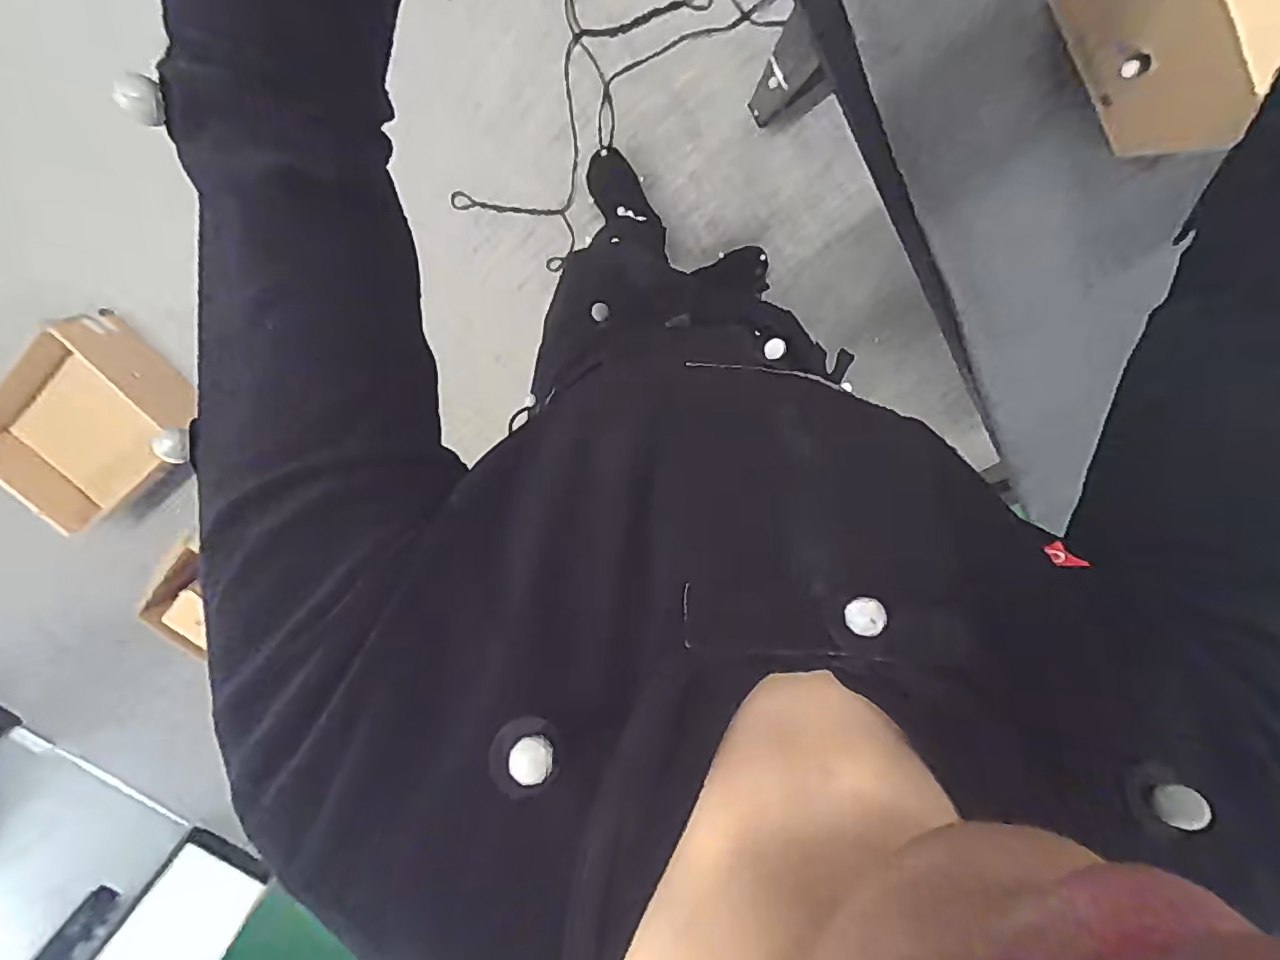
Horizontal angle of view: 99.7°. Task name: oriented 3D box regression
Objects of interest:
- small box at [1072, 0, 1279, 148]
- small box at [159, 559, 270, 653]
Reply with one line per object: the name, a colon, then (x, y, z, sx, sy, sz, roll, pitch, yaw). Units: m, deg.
small box: (0.481, -0.387, 0.411, 0.179, 0.176, 0.168, -36, 109, 21)
small box: (-1.254, 0.368, 1.609, 0.179, 0.176, 0.168, -39, 106, 21)
